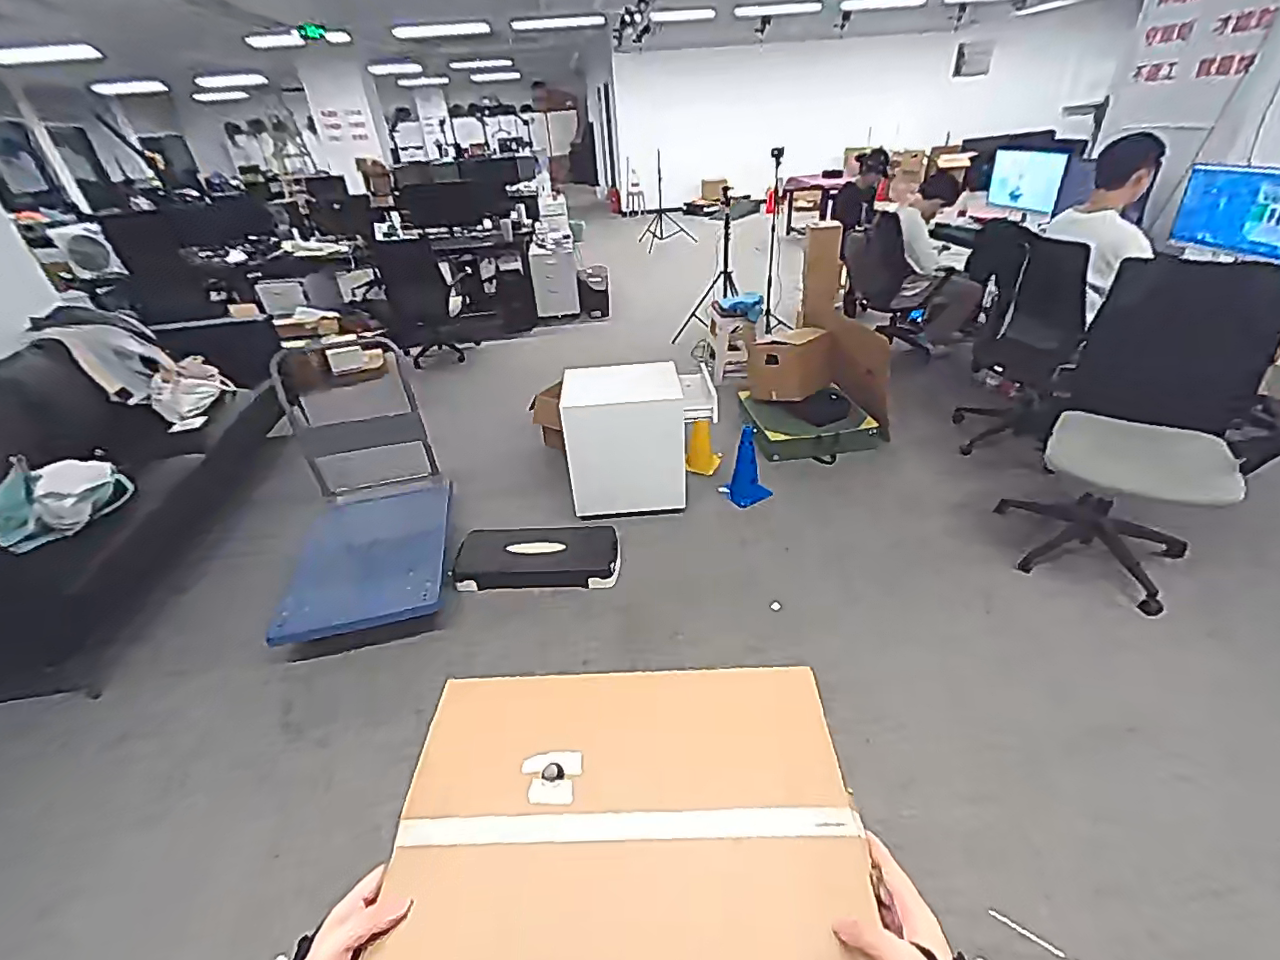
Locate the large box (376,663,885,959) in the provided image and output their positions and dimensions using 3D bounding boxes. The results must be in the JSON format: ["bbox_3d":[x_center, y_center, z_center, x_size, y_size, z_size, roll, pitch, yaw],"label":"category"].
[{"bbox_3d":[0.002,0.431,0.580,0.408,0.320,0.320,-5,37,4],"label":"large box"}]
